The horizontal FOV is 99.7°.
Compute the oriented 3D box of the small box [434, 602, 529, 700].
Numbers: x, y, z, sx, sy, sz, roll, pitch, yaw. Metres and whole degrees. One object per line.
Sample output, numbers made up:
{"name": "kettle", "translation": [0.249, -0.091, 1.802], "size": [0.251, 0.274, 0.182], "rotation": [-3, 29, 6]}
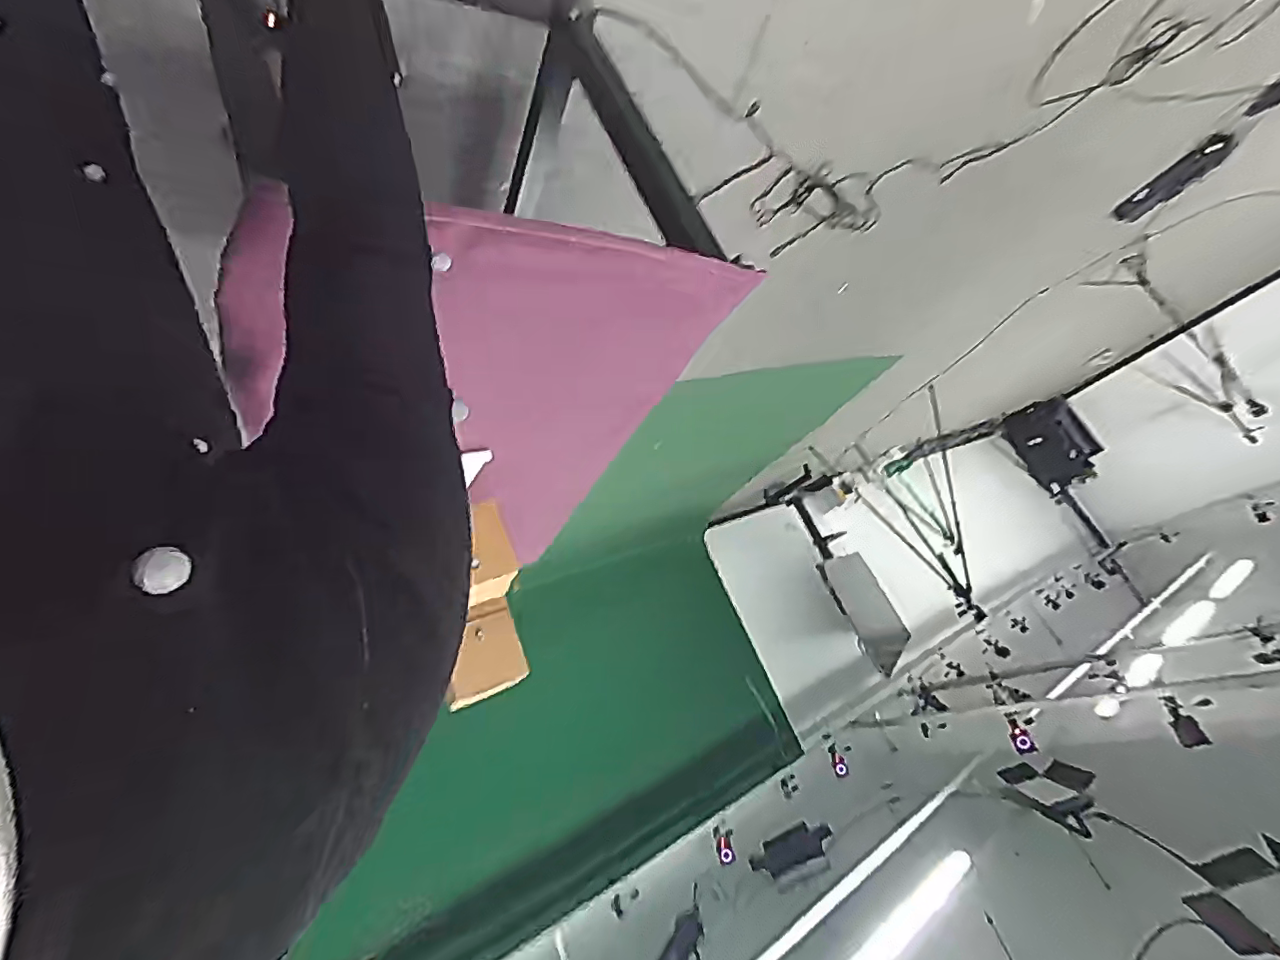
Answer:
{"name": "small box", "translation": [-0.403, 0.425, 1.350], "size": [0.179, 0.176, 0.168], "rotation": [-12, 160, -32]}

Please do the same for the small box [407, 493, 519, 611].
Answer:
{"name": "small box", "translation": [-0.376, 0.148, 1.128], "size": [0.179, 0.176, 0.168], "rotation": [-15, 160, -30]}
